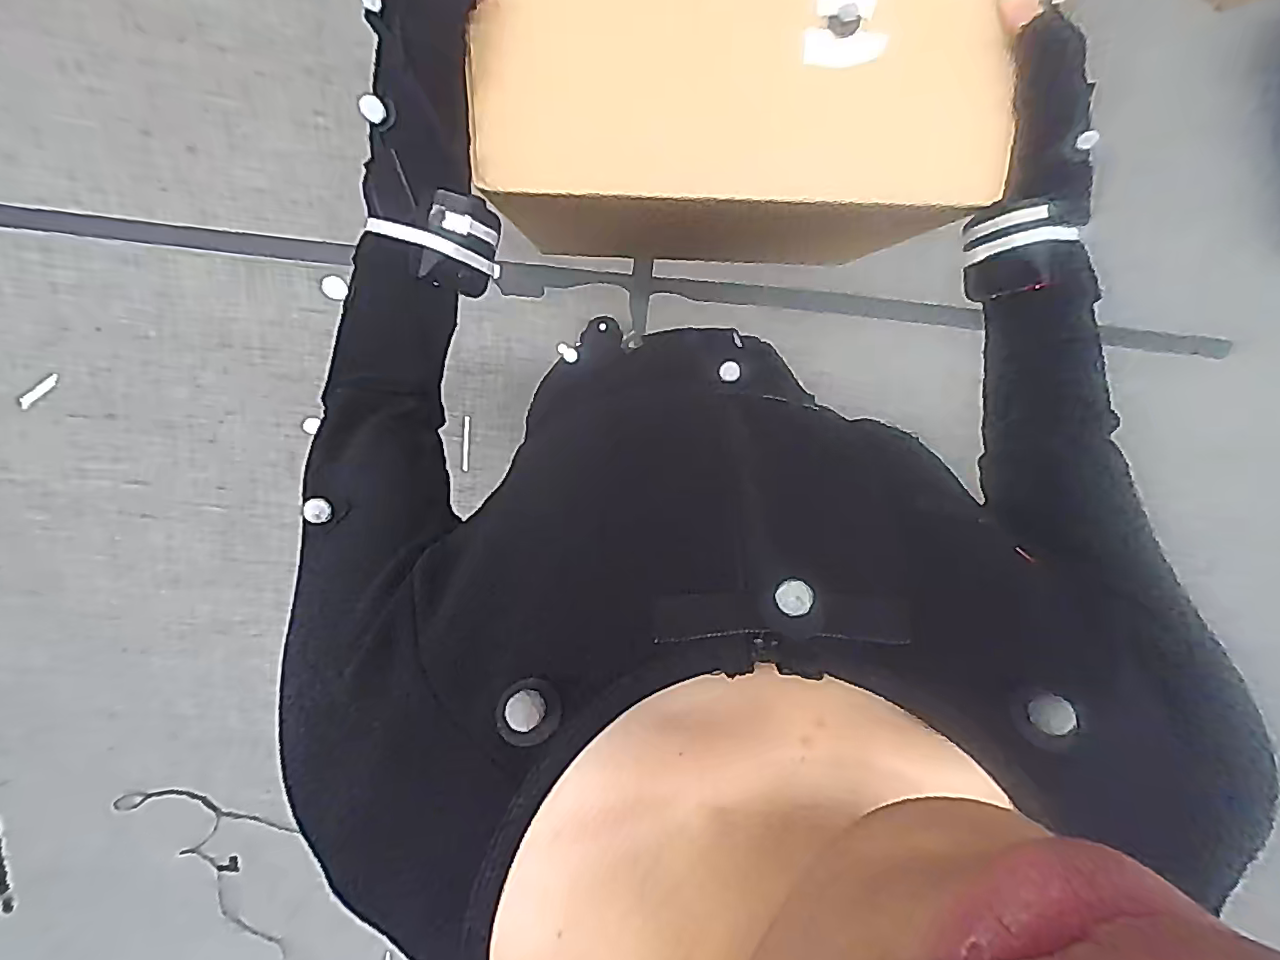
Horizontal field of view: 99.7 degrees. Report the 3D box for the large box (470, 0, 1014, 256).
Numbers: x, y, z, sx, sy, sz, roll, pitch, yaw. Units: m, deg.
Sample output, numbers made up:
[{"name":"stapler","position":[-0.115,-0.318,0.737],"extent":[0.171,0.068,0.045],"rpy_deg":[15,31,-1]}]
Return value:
[{"name":"large box","position":[0.070,-0.410,0.529],"extent":[0.408,0.320,0.320],"rpy_deg":[1,104,-2]}]
